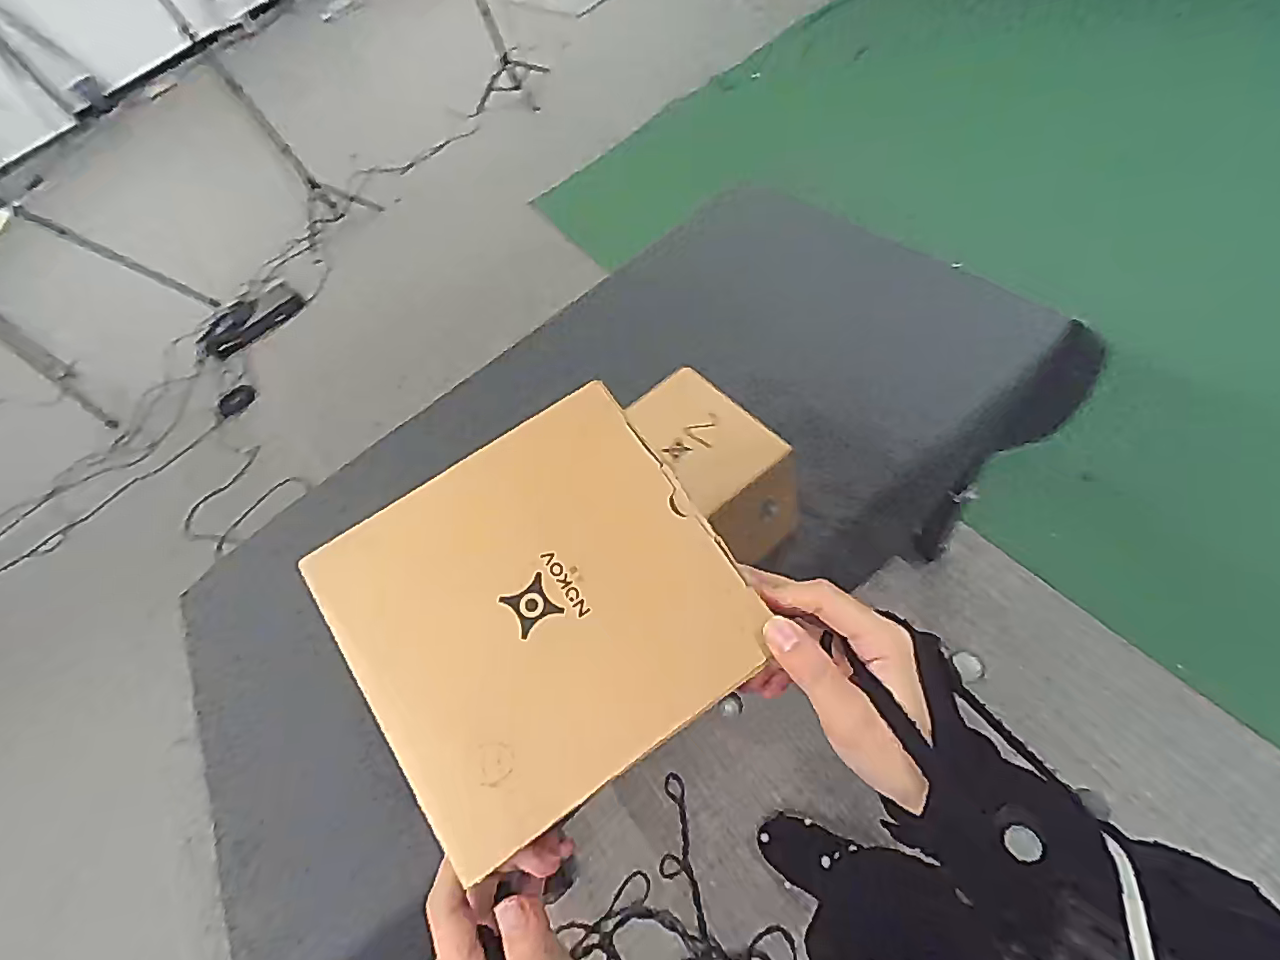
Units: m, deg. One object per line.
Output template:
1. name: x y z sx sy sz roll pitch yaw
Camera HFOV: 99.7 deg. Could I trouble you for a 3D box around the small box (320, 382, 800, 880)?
1. small box: -0.039 0.080 0.328 0.179 0.176 0.168 -33 75 -10
